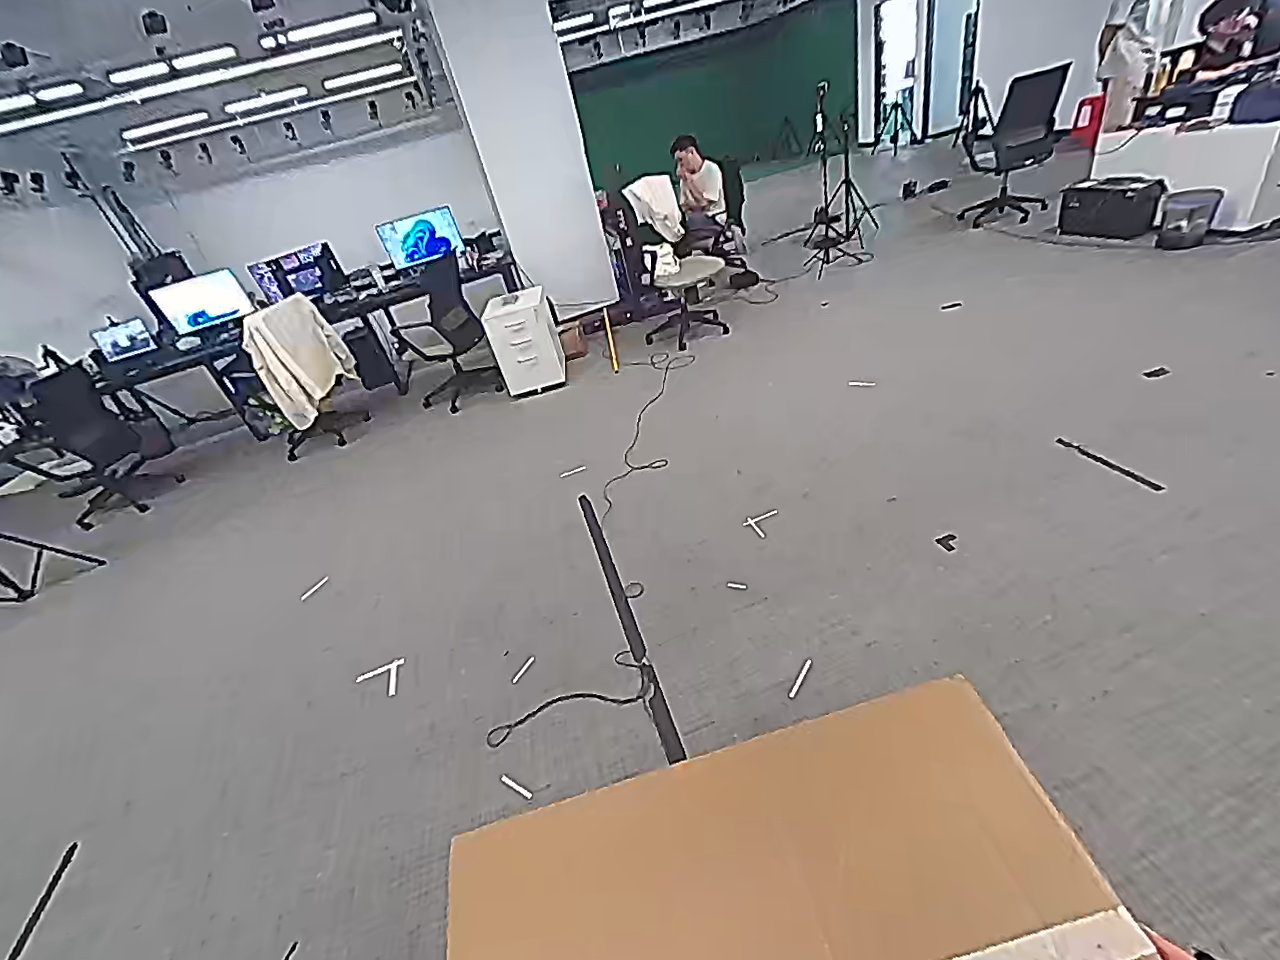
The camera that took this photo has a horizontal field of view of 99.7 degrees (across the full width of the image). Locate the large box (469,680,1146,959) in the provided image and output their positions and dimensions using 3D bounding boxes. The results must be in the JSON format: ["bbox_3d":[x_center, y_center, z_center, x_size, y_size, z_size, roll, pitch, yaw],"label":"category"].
[{"bbox_3d":[0.122,0.419,0.415,0.408,0.320,0.320,-18,46,0],"label":"large box"}]
